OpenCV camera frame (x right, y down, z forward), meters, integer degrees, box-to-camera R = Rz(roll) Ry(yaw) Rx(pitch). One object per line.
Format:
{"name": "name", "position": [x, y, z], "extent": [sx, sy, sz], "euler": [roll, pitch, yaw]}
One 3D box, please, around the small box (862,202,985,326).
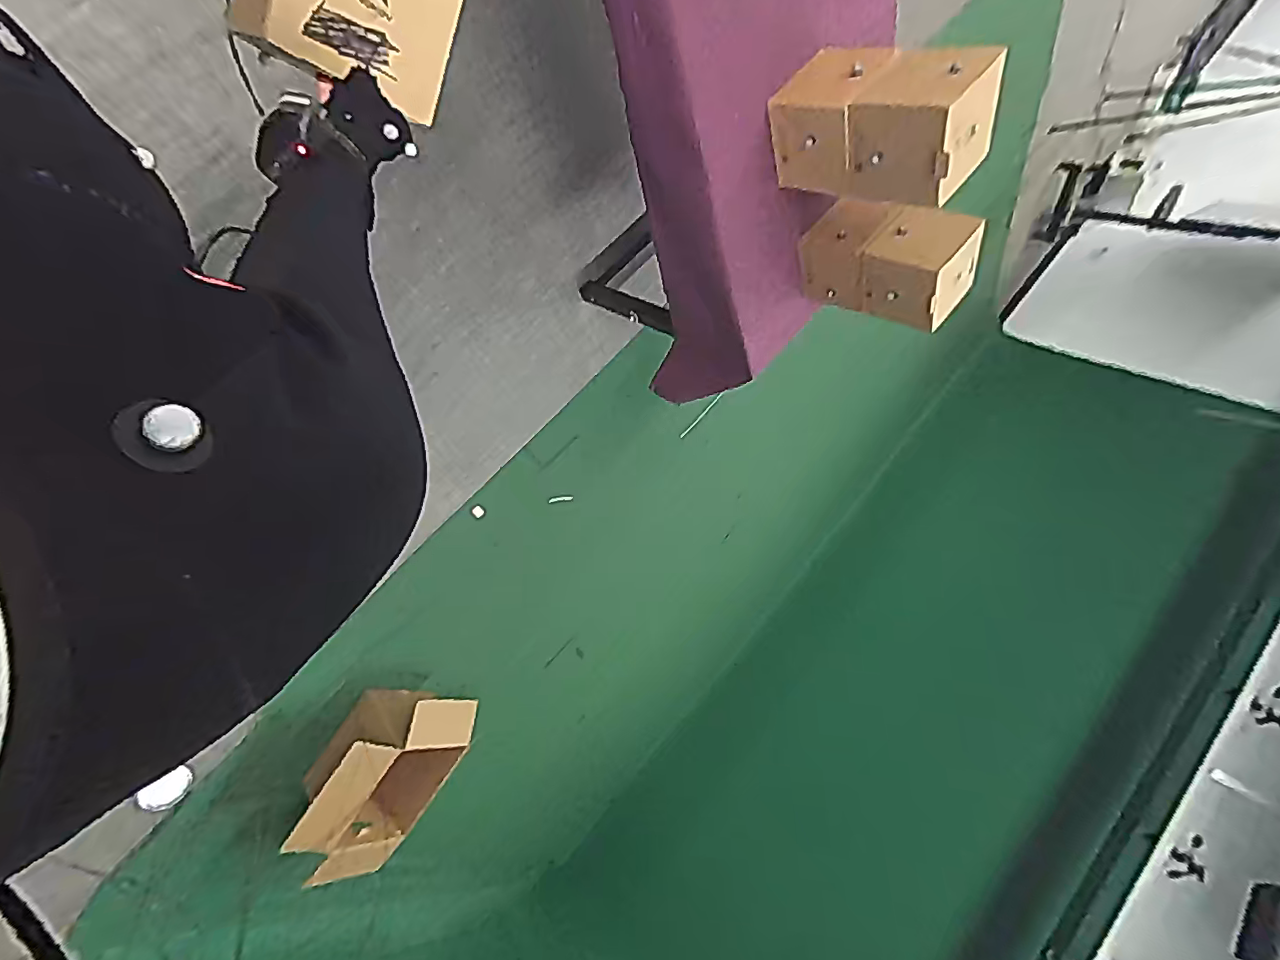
{"name": "small box", "position": [0.606, -0.474, 1.178], "extent": [0.179, 0.176, 0.168], "euler": [-45, 144, -12]}

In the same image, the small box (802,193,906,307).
{"name": "small box", "position": [0.499, -0.547, 1.279], "extent": [0.179, 0.176, 0.168], "euler": [-46, 143, -13]}

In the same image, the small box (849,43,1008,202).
{"name": "small box", "position": [0.484, -0.615, 0.929], "extent": [0.179, 0.176, 0.168], "euler": [-46, 143, -13]}

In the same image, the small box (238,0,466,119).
{"name": "small box", "position": [-0.308, -0.532, 0.579], "extent": [0.168, 0.176, 0.179], "euler": [1, 121, -50]}

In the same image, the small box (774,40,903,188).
{"name": "small box", "position": [0.369, -0.688, 1.022], "extent": [0.179, 0.176, 0.168], "euler": [-48, 143, -11]}
